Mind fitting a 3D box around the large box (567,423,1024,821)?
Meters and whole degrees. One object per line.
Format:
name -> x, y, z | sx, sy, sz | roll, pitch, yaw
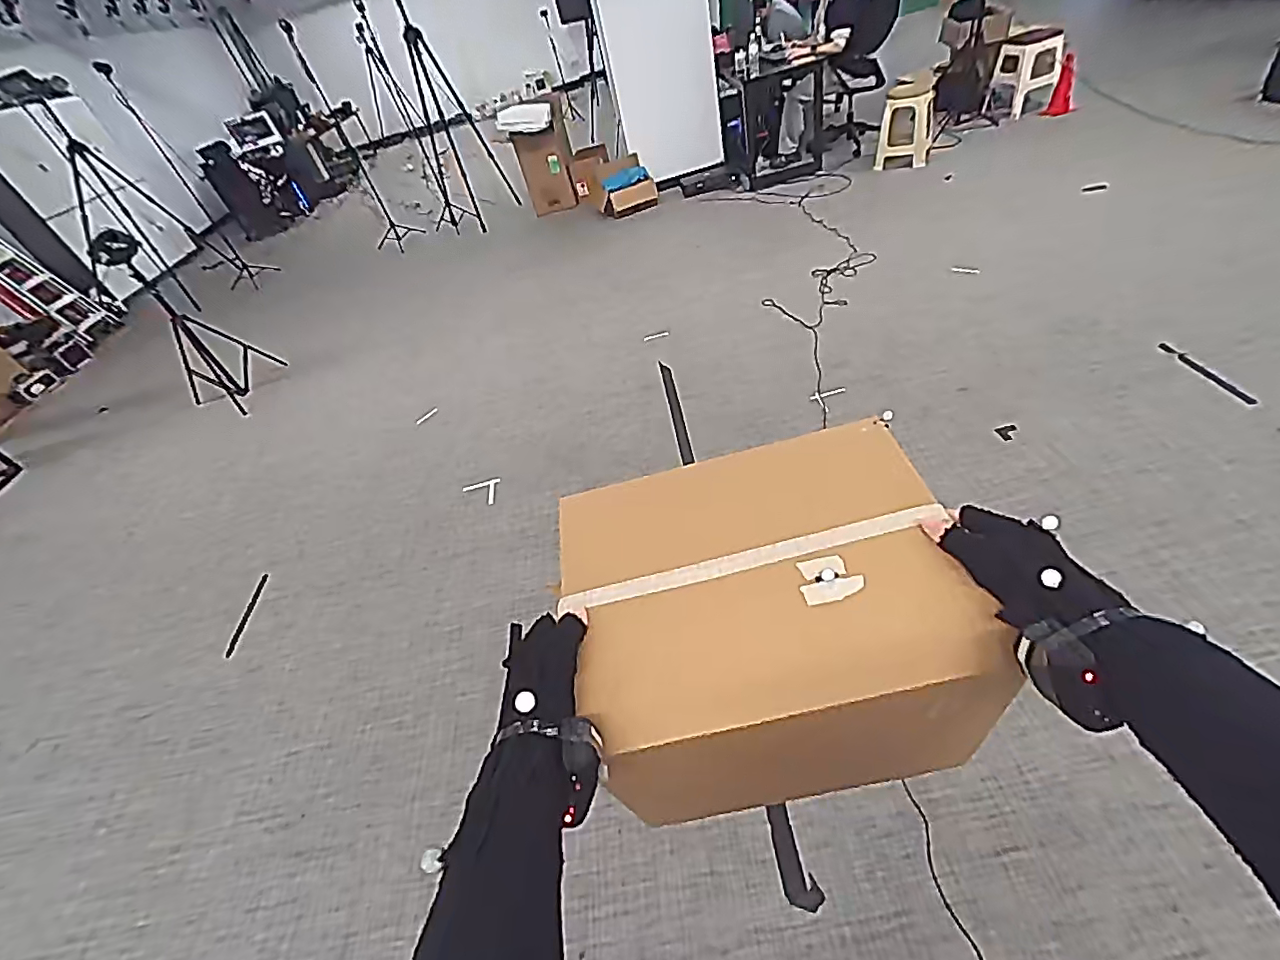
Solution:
large box -> 0.150, 0.185, 0.681 | 0.408, 0.320, 0.320 | -14, 47, 4
